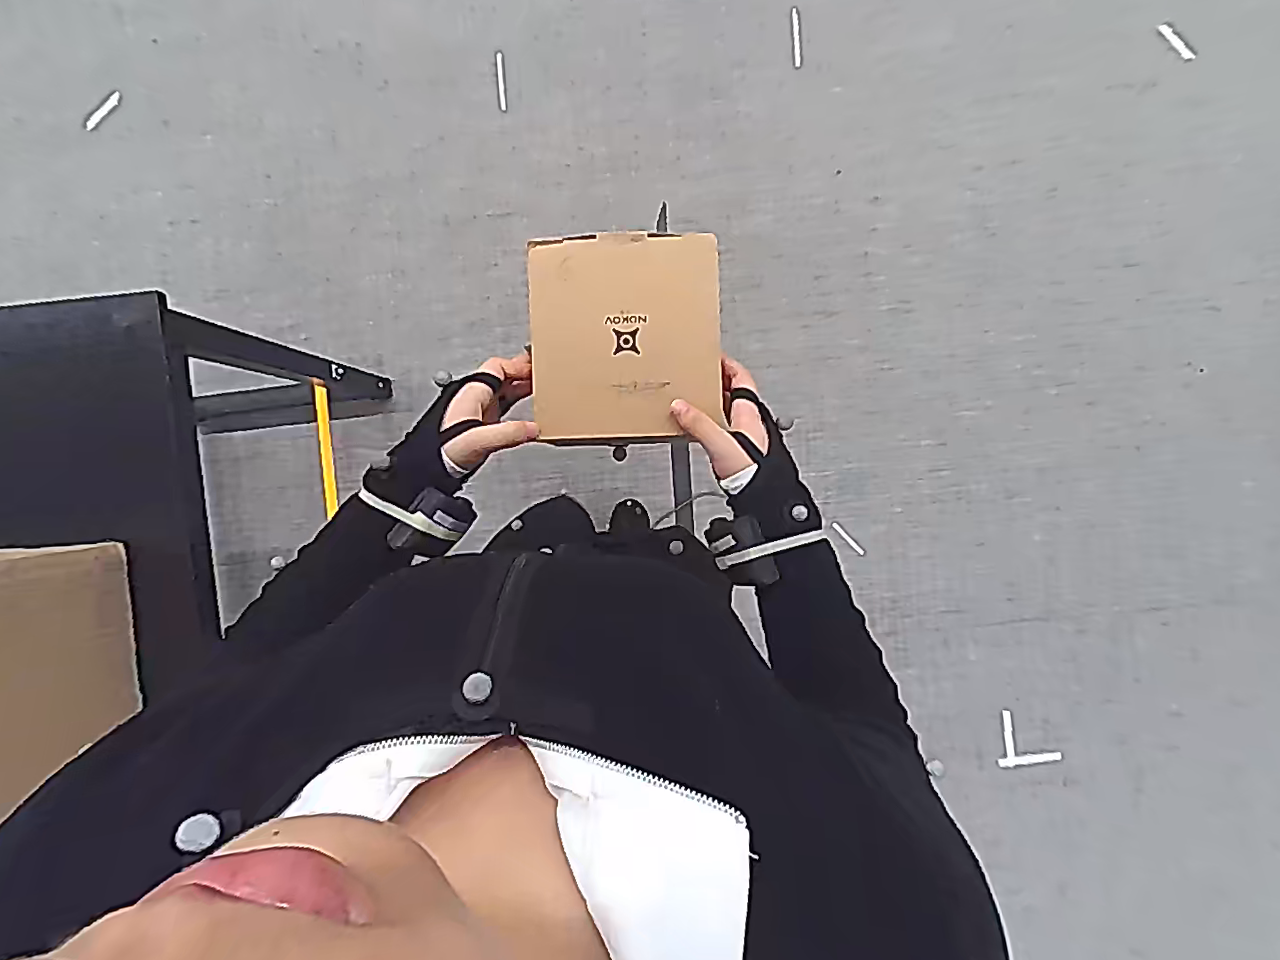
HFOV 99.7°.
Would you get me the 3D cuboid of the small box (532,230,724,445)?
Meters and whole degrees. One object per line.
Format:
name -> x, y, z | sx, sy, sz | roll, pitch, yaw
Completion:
small box -> -0.012, -0.127, 0.544 | 0.168, 0.176, 0.179 | -2, 92, 0
